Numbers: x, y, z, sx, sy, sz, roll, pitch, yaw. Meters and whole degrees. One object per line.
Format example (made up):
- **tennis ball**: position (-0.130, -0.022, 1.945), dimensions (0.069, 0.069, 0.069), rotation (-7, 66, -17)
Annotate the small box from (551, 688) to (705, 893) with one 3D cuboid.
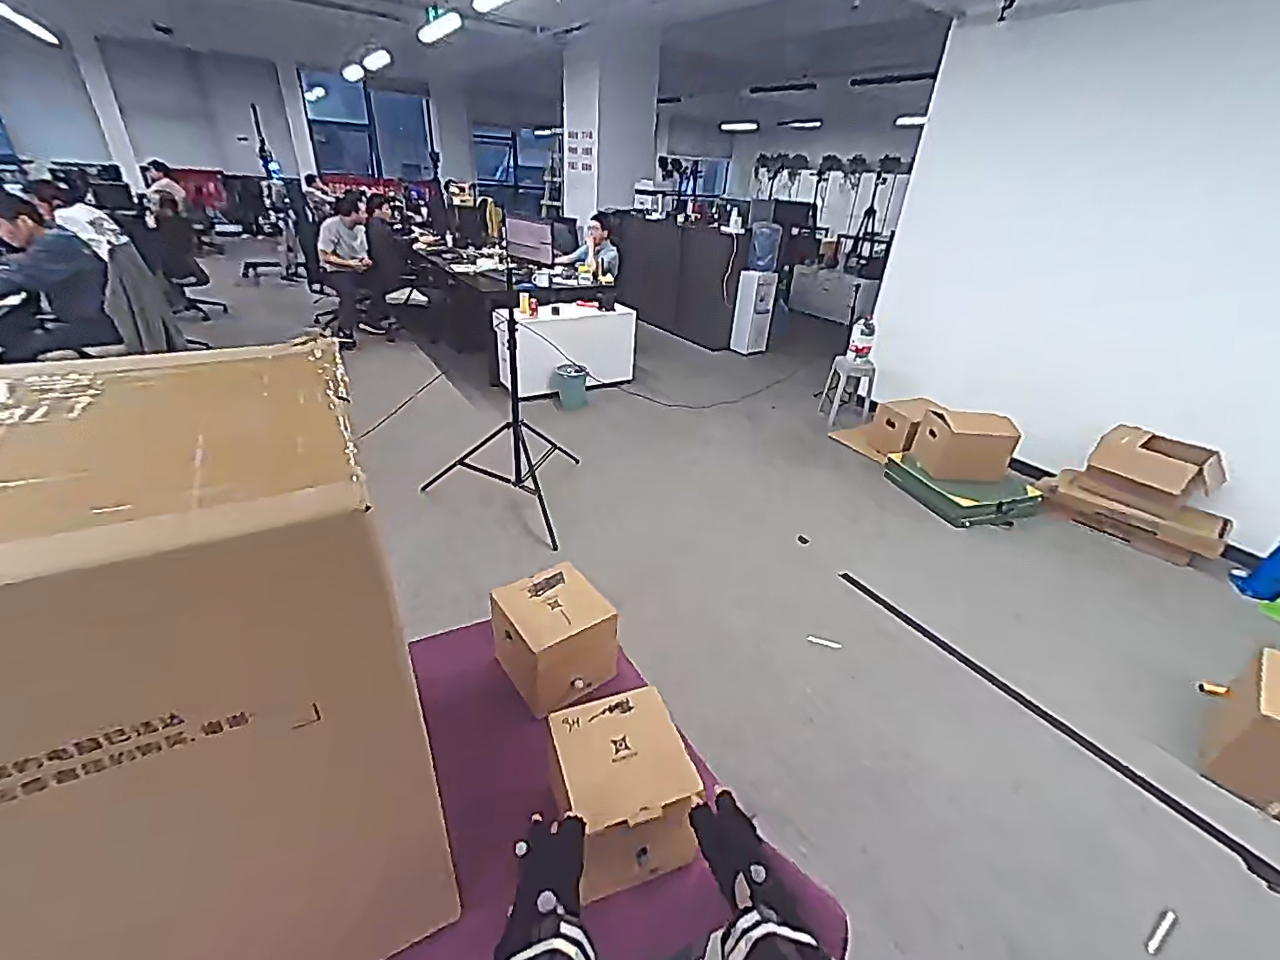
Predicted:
- **small box**: position (-0.025, 0.432, 0.754), dimensions (0.168, 0.176, 0.179), rotation (-7, 31, -19)
